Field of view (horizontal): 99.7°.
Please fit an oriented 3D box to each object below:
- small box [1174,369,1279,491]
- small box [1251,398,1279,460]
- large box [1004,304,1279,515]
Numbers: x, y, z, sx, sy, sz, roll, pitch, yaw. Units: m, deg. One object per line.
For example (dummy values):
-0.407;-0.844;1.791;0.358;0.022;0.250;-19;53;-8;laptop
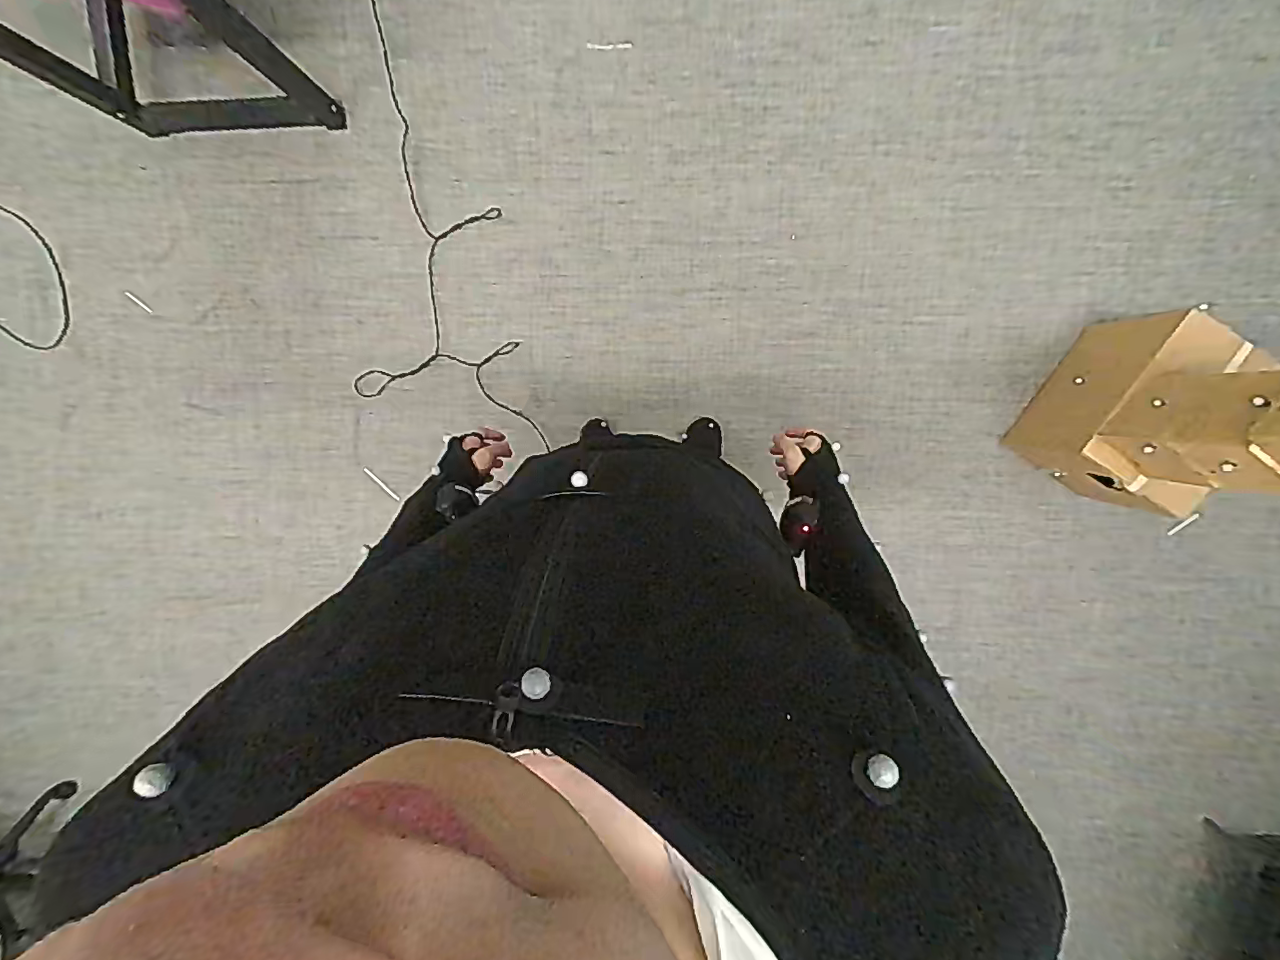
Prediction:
1.177;-0.089;1.015;0.168;0.176;0.179;36;97;-3;small box
1.163;-0.080;0.850;0.179;0.176;0.168;37;97;-4;small box
1.278;-0.177;1.410;0.320;0.320;0.408;32;98;-4;large box
